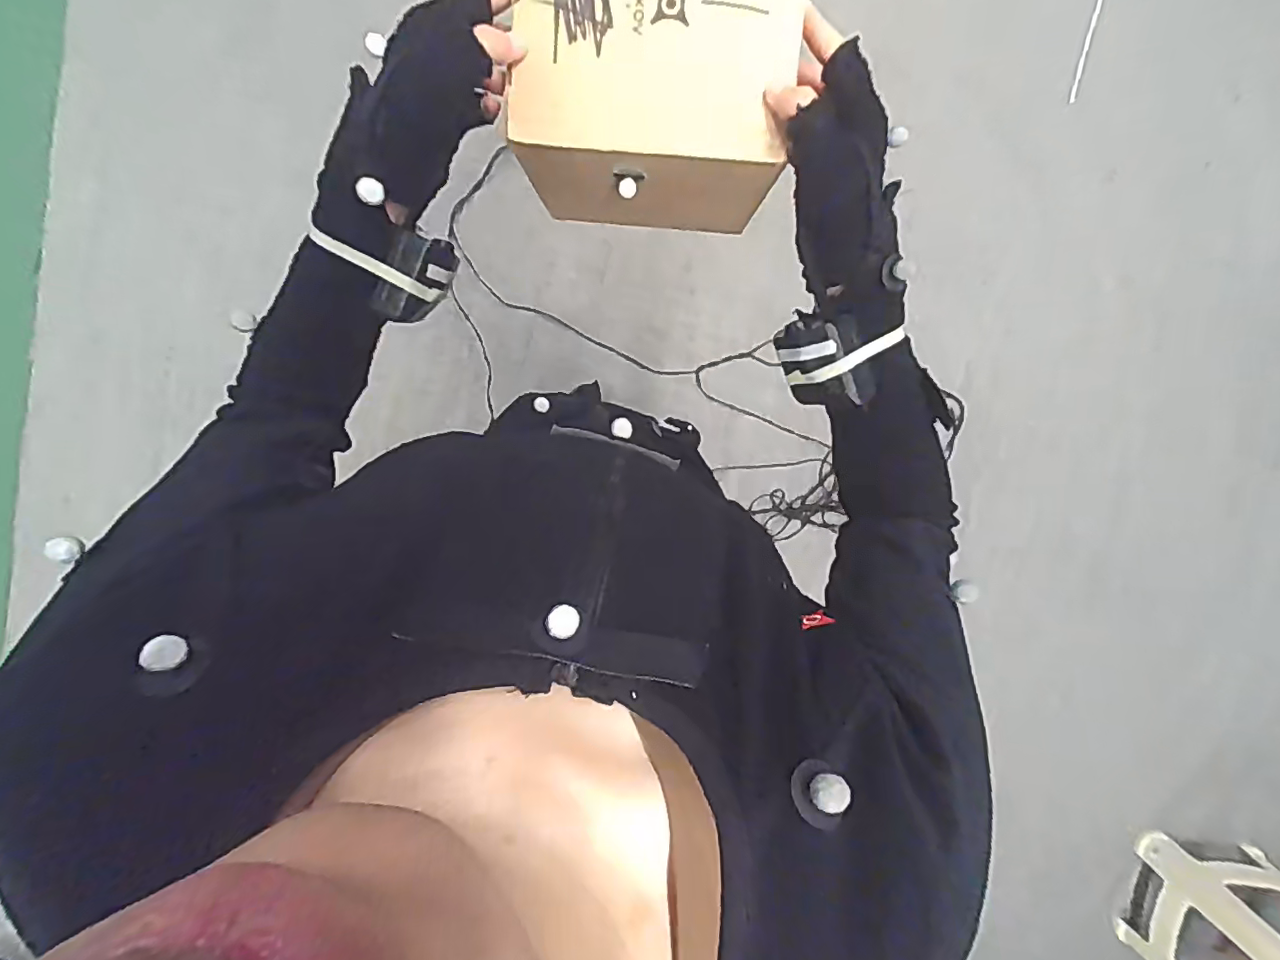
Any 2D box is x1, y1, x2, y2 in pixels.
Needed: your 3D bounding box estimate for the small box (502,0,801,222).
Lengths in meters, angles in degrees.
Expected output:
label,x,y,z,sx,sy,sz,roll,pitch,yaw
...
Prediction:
label,x,y,z,sx,sy,sz,roll,pitch,yaw
small box,0.010,-0.301,0.394,0.179,0.176,0.168,4,101,0
